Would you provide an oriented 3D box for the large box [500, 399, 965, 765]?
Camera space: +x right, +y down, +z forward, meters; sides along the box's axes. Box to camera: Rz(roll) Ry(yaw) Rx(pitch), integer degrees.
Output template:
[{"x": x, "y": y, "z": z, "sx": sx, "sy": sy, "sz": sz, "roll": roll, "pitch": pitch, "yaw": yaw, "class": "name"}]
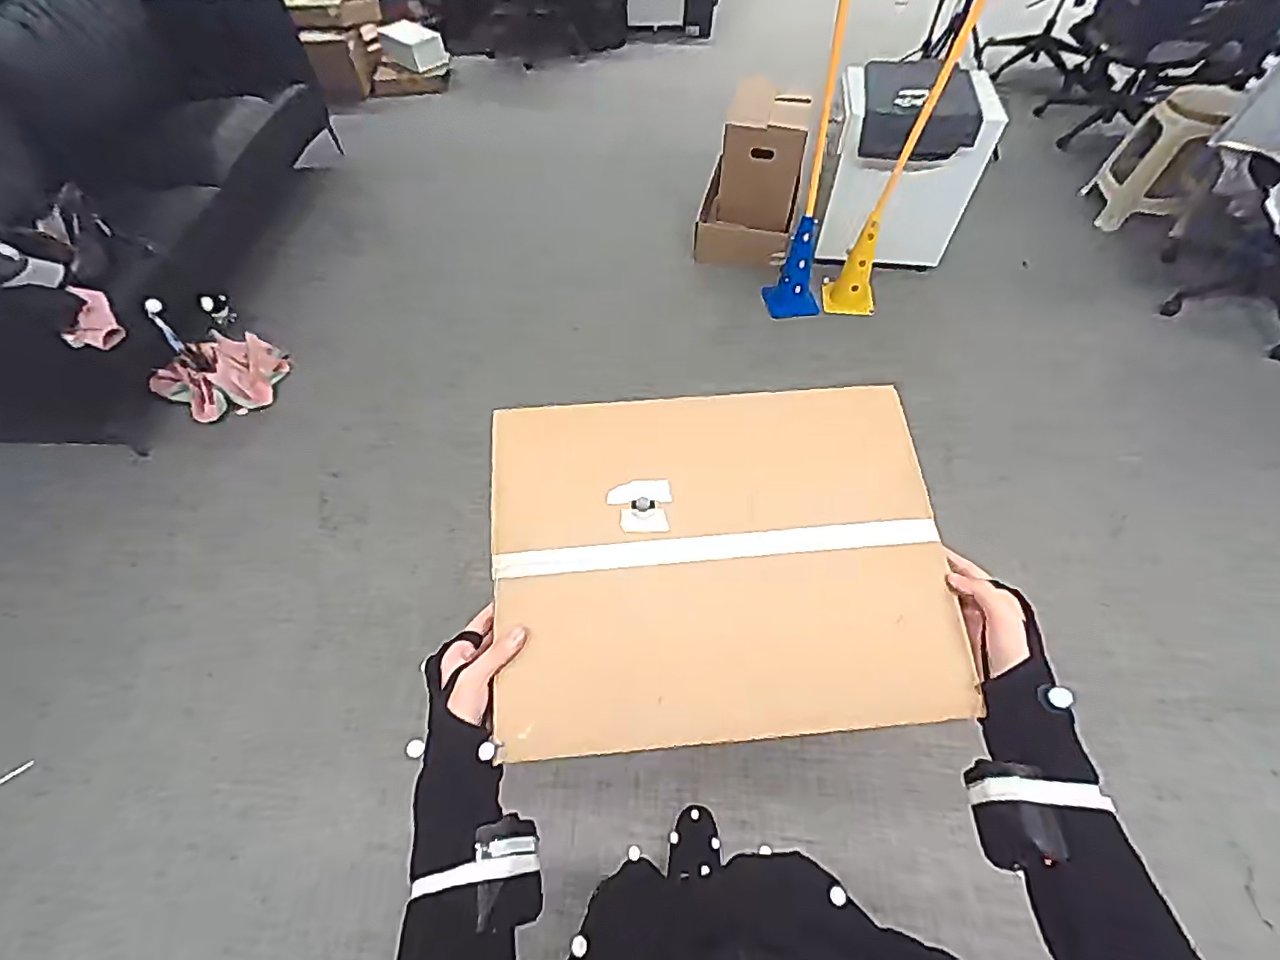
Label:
[{"x": 0.070, "y": 0.125, "z": 0.644, "sx": 0.408, "sy": 0.320, "sz": 0.320, "roll": -5, "pitch": 69, "yaw": -2, "class": "large box"}]
